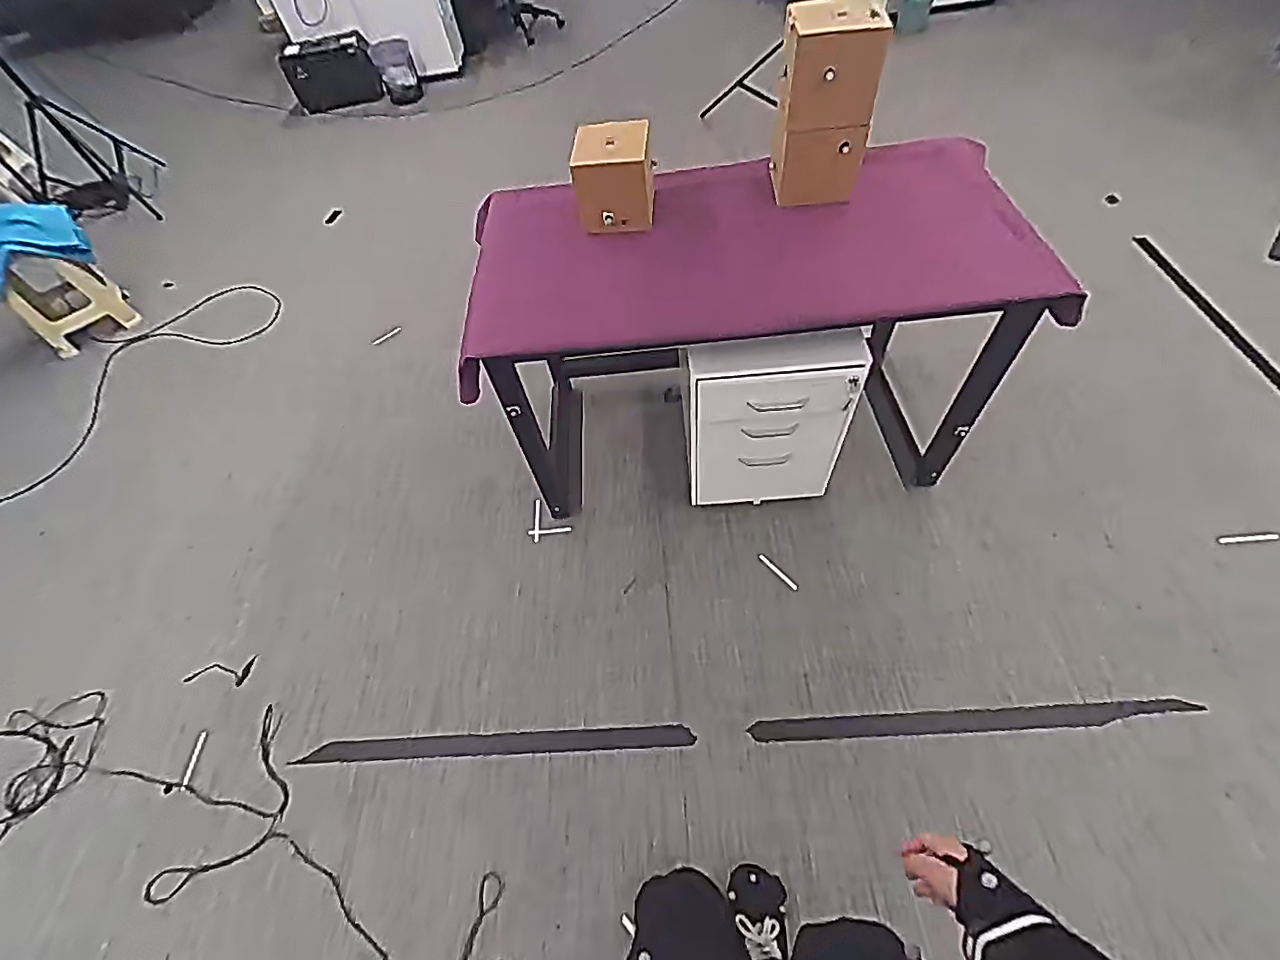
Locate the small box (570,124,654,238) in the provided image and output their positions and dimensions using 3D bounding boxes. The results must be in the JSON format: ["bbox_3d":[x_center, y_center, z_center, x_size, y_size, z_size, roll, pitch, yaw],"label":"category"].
[{"bbox_3d":[-0.057,-0.694,1.262,0.168,0.176,0.179,-1,58,7],"label":"small box"}]

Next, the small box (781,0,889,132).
[{"bbox_3d":[0.387,-0.844,1.111,0.179,0.176,0.168,-2,57,7],"label":"small box"}]

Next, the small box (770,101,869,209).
[{"bbox_3d":[0.404,-0.753,1.247,0.179,0.176,0.168,-3,56,5],"label":"small box"}]
